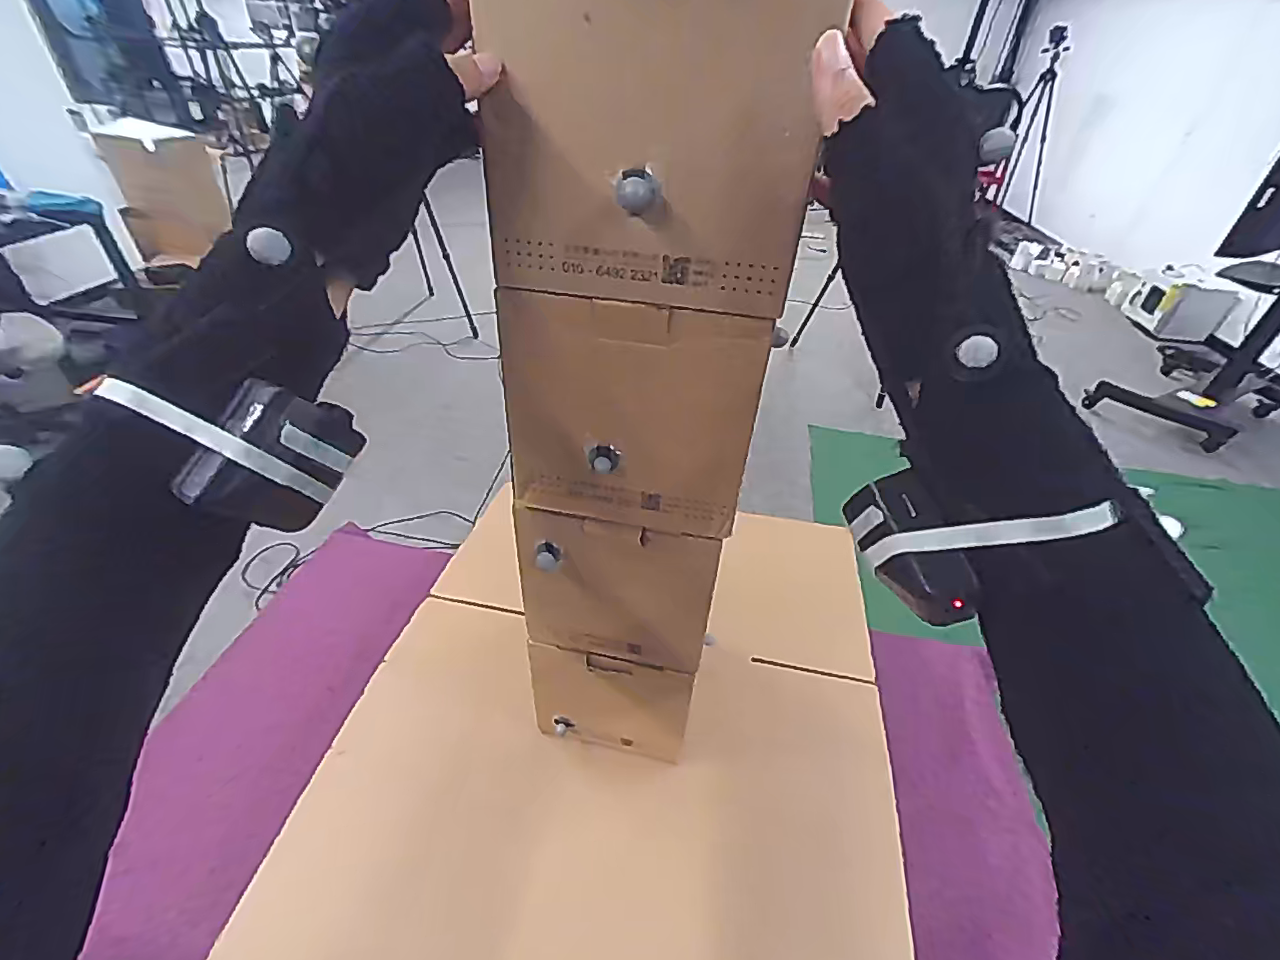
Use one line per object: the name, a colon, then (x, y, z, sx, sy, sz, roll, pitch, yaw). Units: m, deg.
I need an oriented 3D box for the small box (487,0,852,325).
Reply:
small box: (0.017, -0.211, 0.326, 0.168, 0.176, 0.179, 9, 37, 7)

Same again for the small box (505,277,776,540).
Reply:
small box: (0.006, -0.081, 0.425, 0.168, 0.176, 0.179, 9, 37, 6)

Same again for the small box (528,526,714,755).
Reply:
small box: (-0.014, 0.182, 0.620, 0.168, 0.176, 0.179, 9, 37, 8)
